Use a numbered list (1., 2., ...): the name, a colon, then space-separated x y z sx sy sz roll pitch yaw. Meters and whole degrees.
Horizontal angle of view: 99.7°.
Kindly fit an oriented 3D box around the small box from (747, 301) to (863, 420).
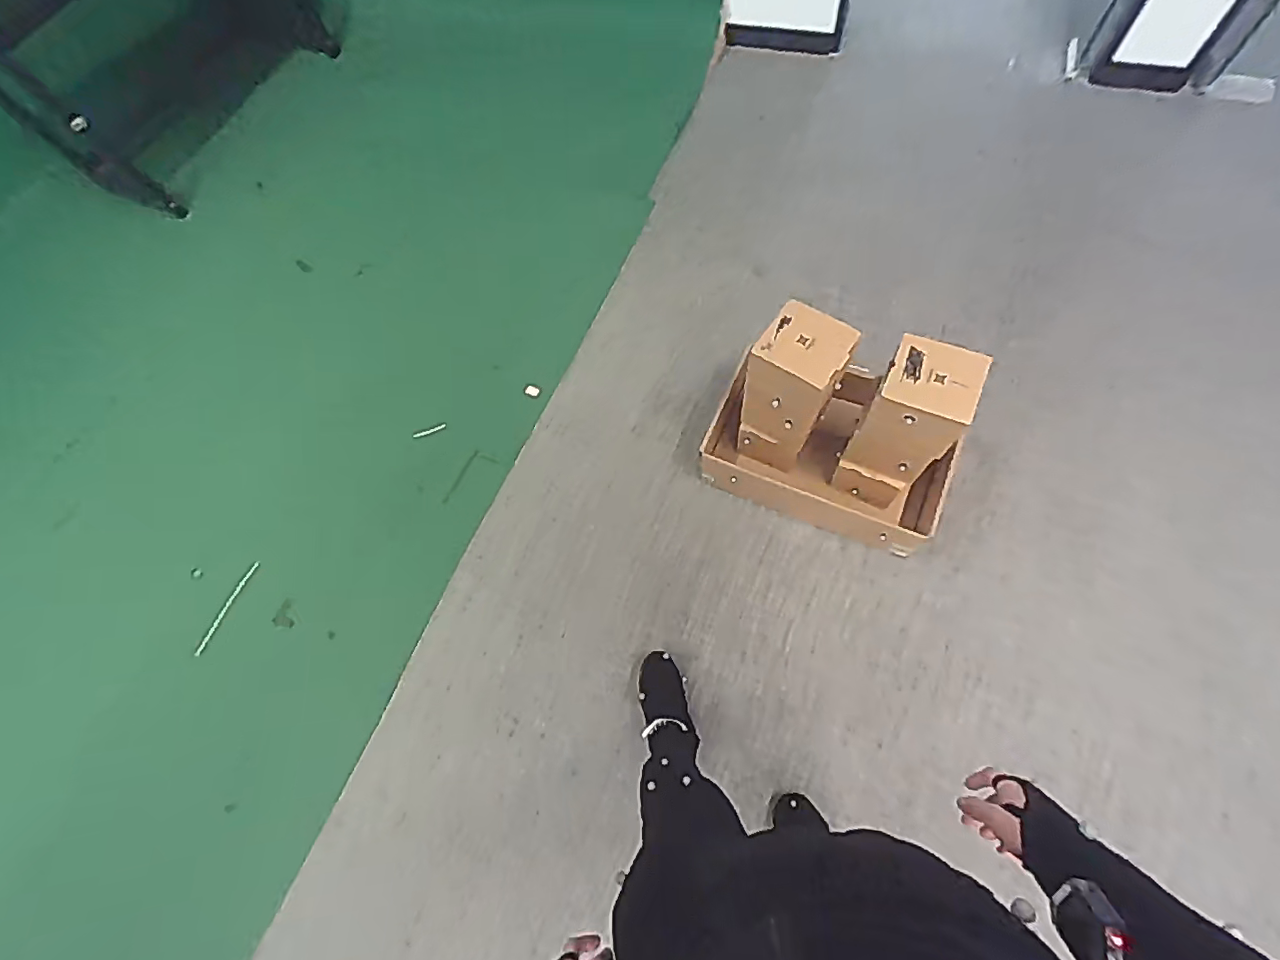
1. small box: 0.361 -0.258 1.216 0.179 0.176 0.168 34 76 16

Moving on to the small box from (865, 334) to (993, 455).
1. small box: 0.602 -0.174 1.150 0.179 0.176 0.168 23 74 16
